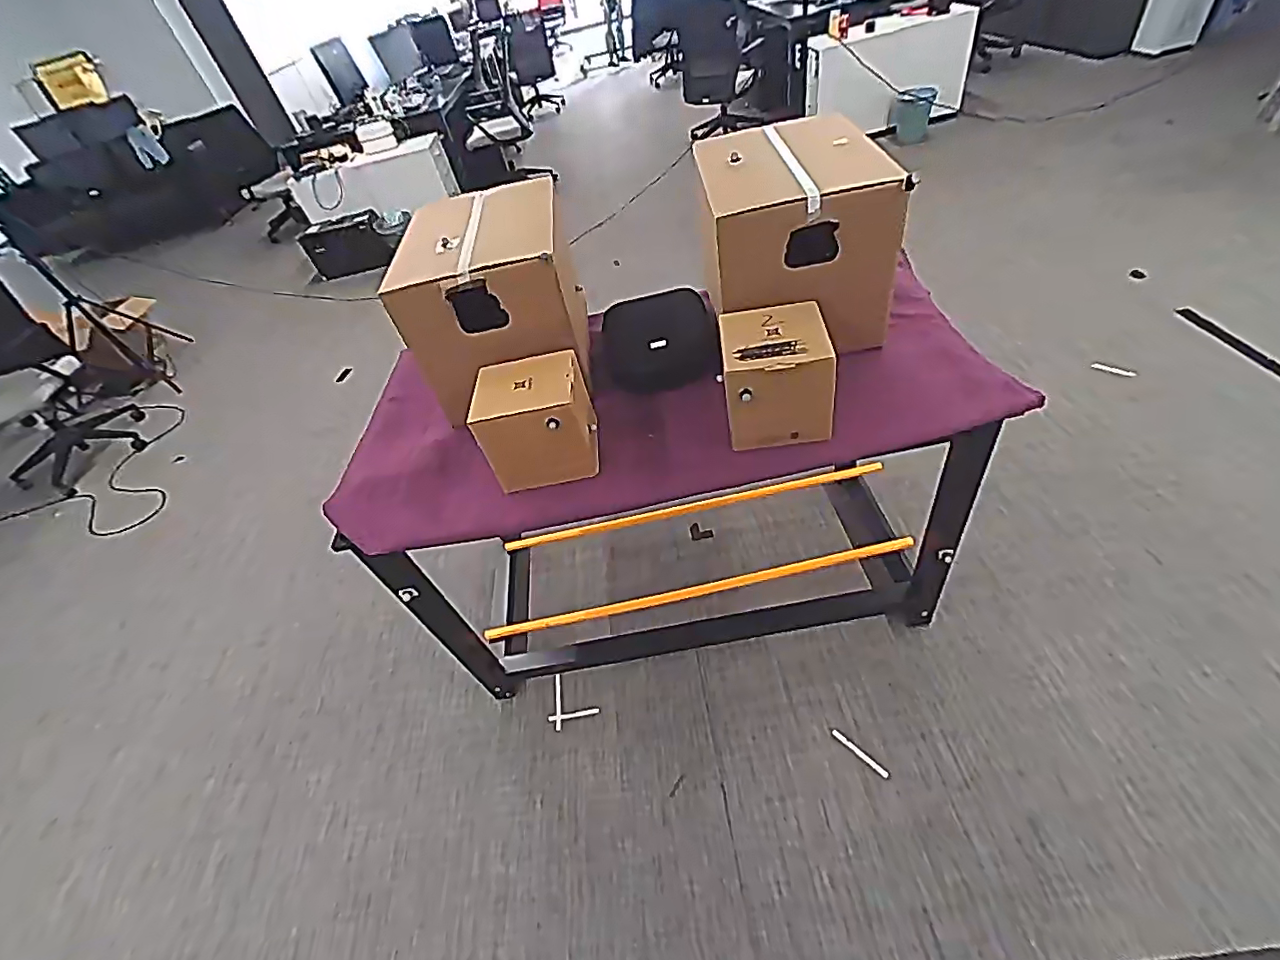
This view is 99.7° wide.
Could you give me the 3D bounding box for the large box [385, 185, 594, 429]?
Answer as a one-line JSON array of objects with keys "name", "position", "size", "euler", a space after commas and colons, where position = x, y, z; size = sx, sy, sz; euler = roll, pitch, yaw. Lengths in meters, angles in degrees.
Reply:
[{"name": "large box", "position": [-0.293, -0.375, 1.164], "size": [0.320, 0.320, 0.408], "euler": [-13, 47, 3]}]
